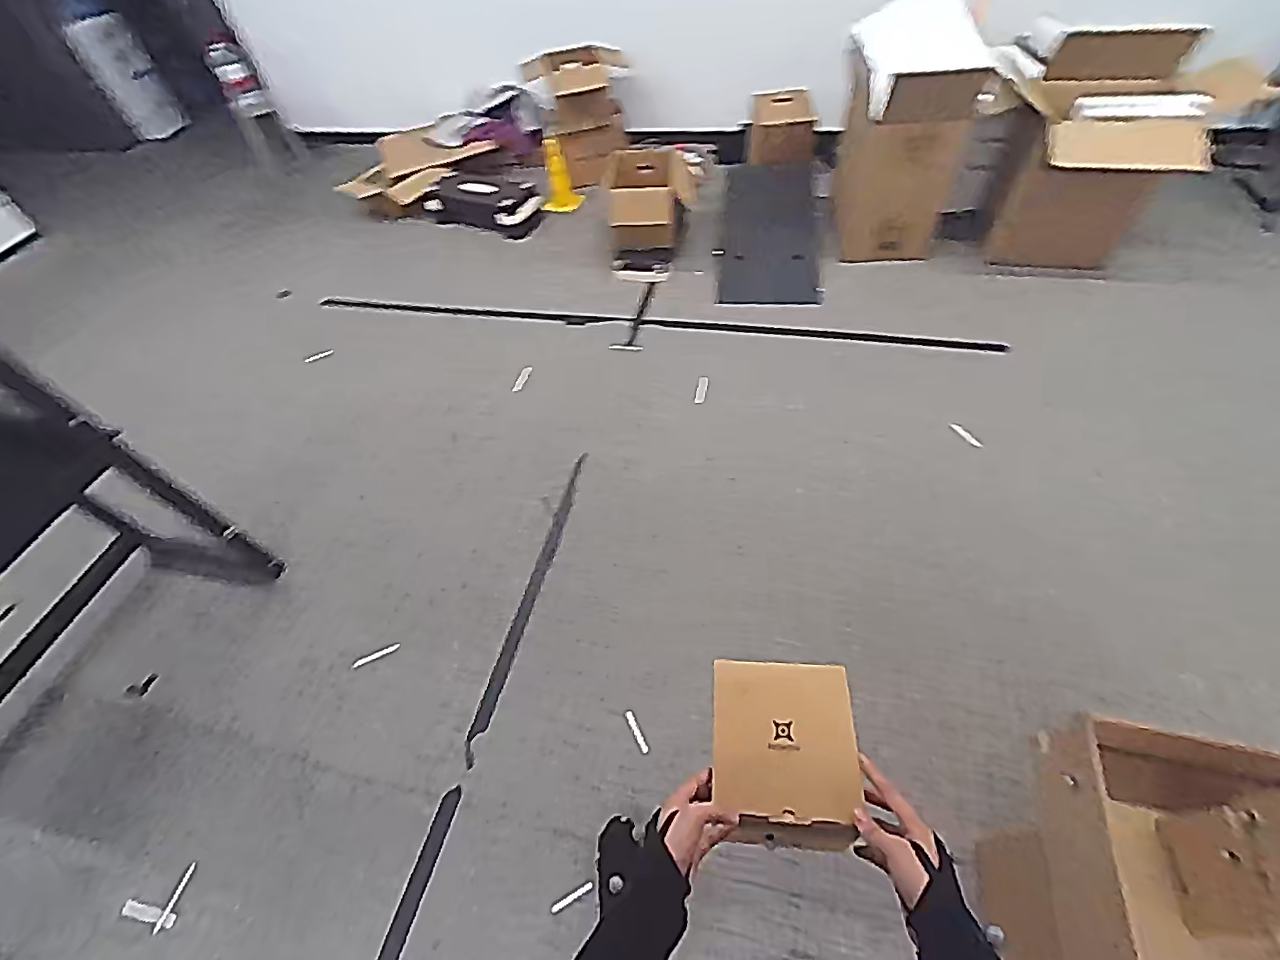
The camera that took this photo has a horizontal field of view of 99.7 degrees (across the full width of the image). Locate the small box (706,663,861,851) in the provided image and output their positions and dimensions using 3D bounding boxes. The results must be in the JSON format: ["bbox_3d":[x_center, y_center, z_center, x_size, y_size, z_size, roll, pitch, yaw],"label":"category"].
[{"bbox_3d":[0.168,0.355,0.695,0.168,0.176,0.179,-1,49,7],"label":"small box"}]

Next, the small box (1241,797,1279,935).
[{"bbox_3d":[0.968,0.536,0.714,0.179,0.176,0.168,12,55,14],"label":"small box"}]

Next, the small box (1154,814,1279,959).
[{"bbox_3d":[0.978,0.640,0.842,0.179,0.176,0.168,7,53,10],"label":"small box"}]
